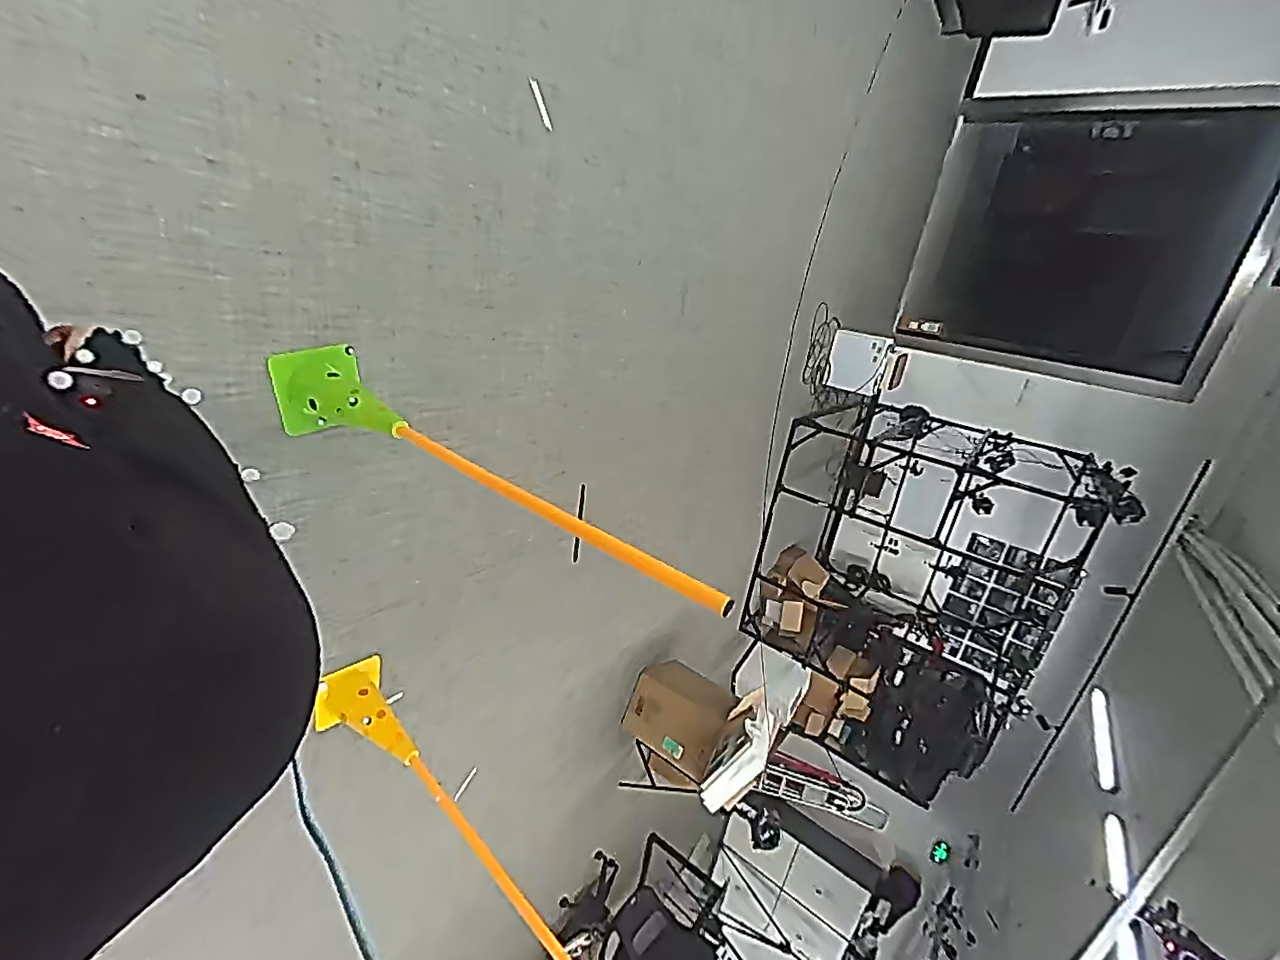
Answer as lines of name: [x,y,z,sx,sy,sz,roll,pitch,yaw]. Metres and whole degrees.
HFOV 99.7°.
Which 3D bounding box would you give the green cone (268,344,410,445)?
green cone: [-0.652,-0.161,1.238,0.200,0.368,0.202,-30,135,-45]
